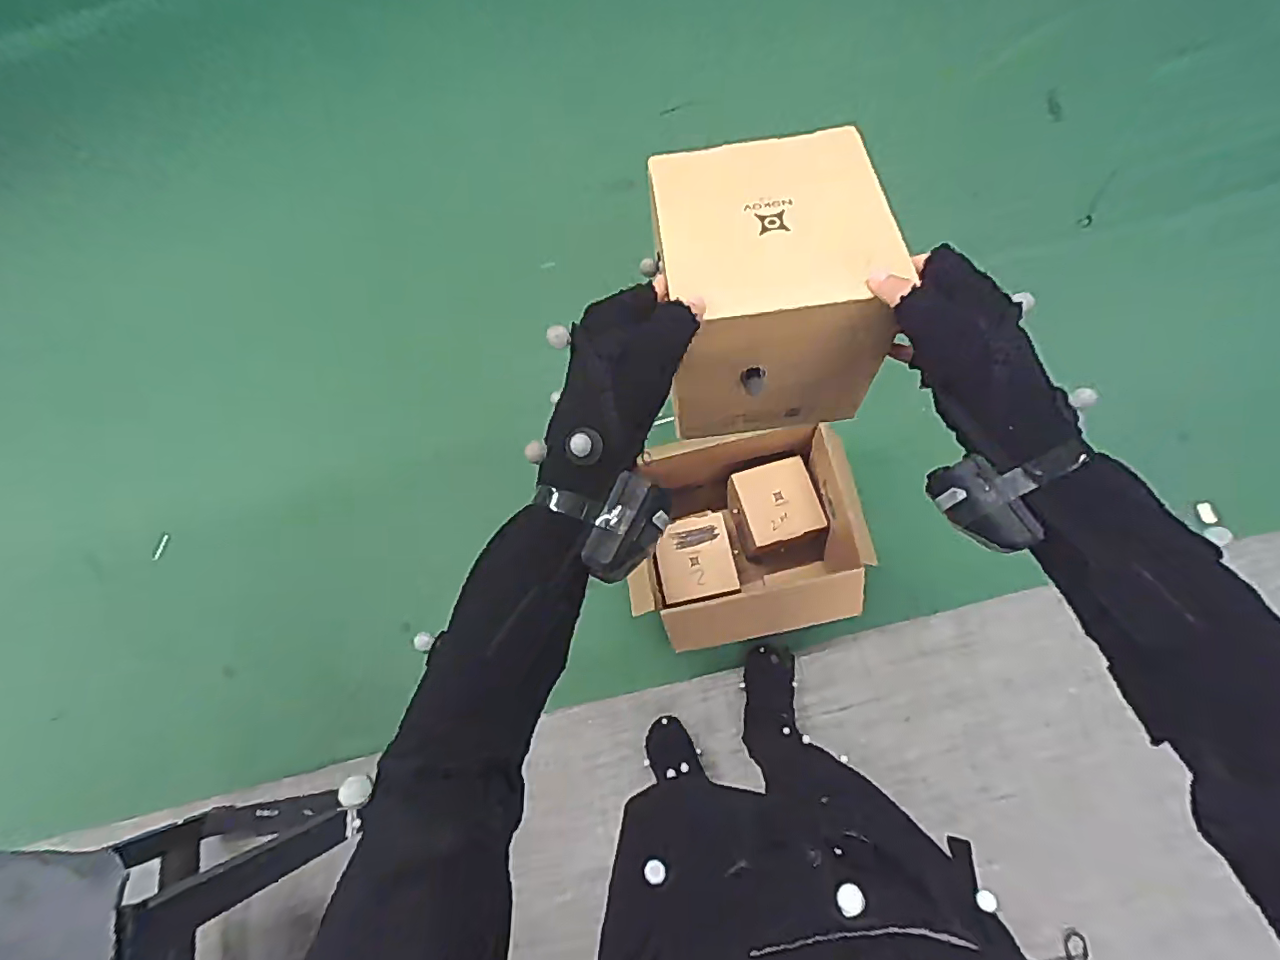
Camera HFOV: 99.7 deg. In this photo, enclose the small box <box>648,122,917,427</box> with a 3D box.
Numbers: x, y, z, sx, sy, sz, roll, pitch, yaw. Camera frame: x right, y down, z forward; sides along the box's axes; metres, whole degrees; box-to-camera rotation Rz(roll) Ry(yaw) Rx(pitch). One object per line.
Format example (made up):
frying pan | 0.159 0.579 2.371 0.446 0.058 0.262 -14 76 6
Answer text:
small box | 0.102 -0.158 0.462 0.168 0.176 0.179 -7 64 3
